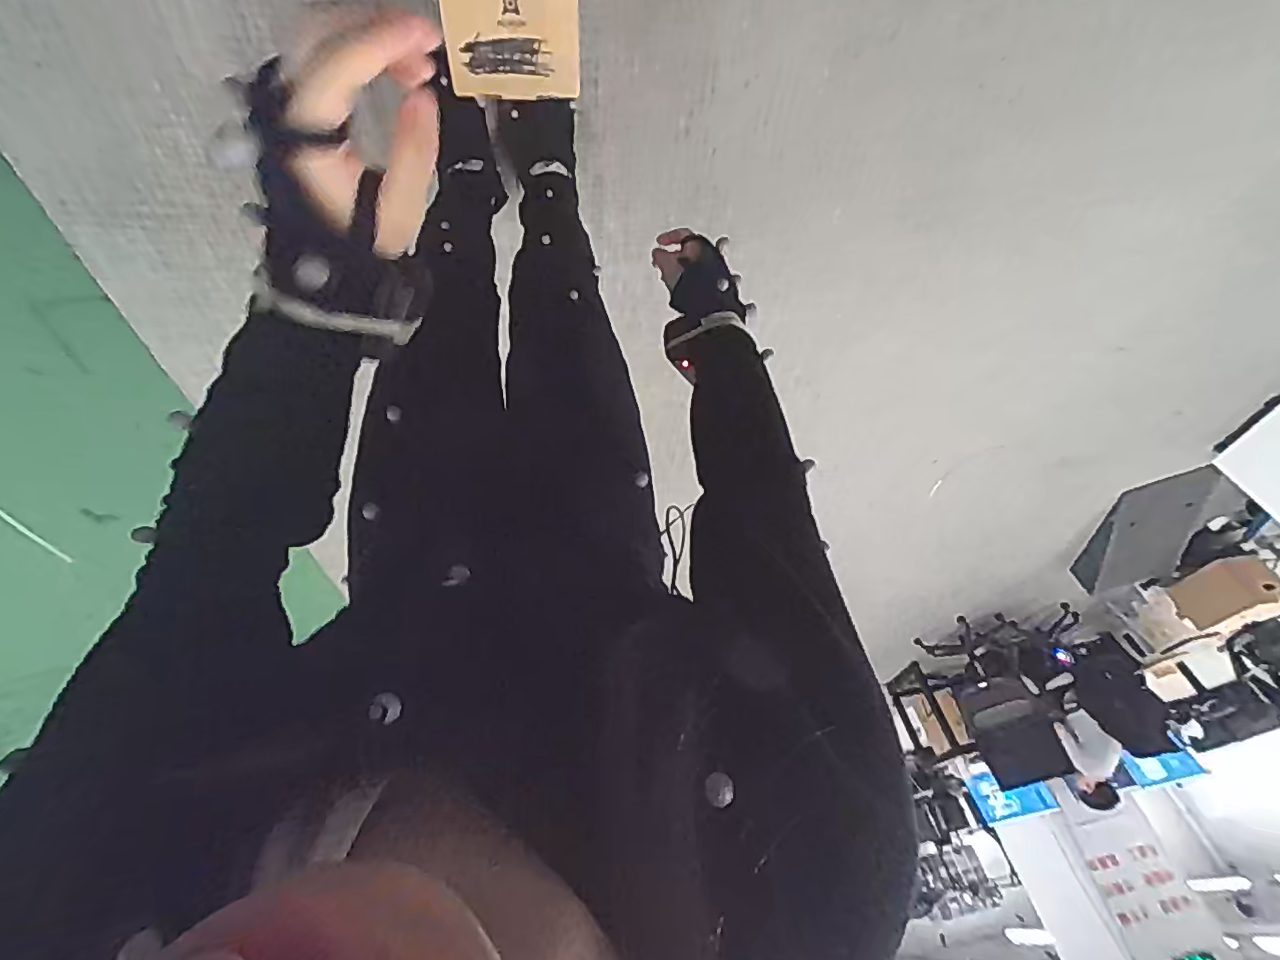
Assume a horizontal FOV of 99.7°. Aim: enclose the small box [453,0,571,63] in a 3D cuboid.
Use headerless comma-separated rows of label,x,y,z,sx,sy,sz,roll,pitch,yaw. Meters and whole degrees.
small box,-0.193,-0.747,0.794,0.168,0.176,0.179,-5,143,-10
